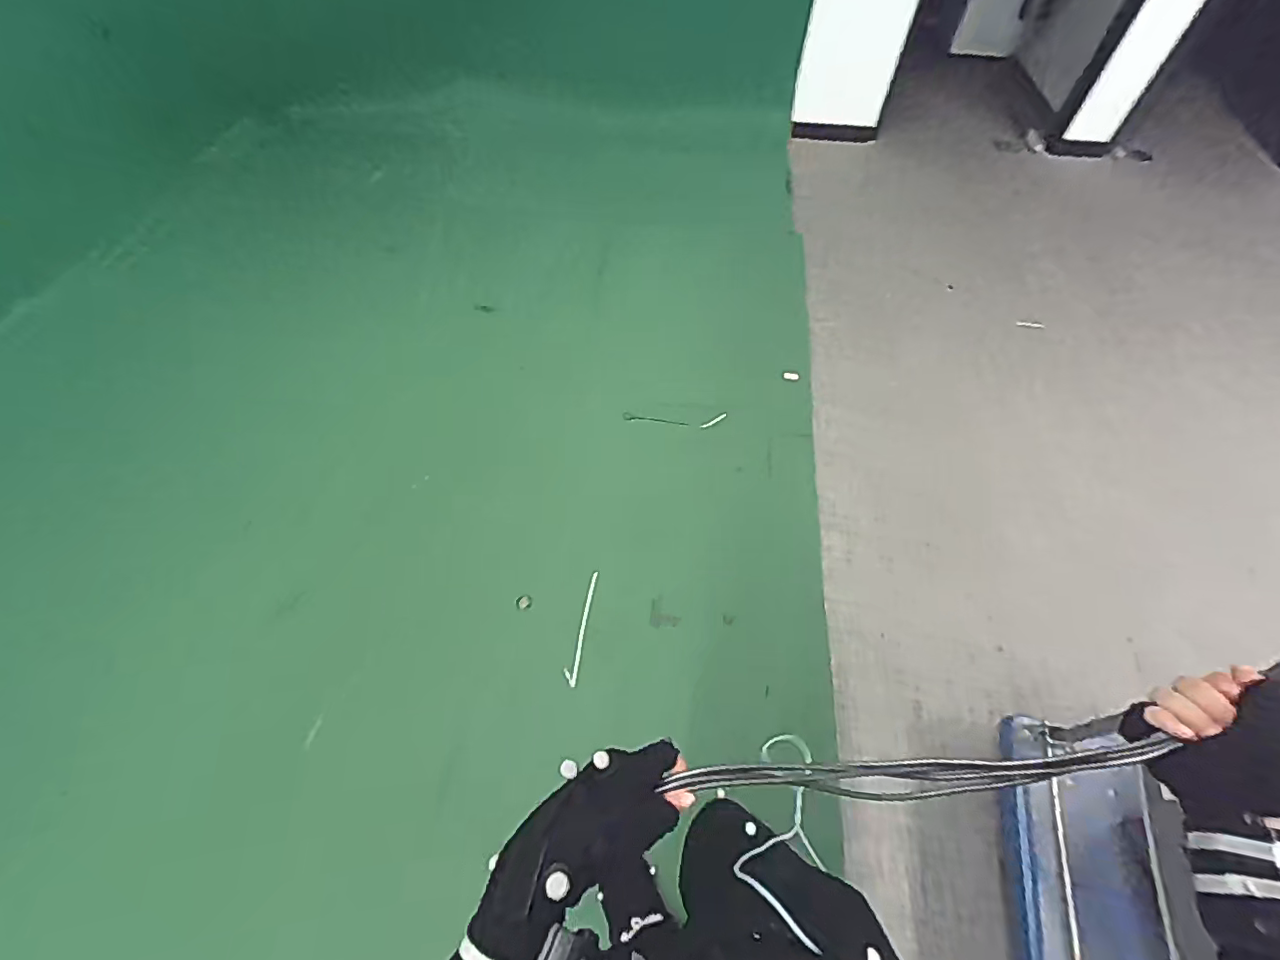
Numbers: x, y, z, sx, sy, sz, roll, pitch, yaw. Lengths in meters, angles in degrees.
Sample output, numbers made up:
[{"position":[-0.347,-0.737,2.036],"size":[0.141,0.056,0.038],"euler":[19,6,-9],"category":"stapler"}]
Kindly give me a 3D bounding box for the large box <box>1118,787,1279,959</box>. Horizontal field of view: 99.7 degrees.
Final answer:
[{"position":[1.129,0.734,0.868],"size":[0.320,0.320,0.408],"euler":[-5,56,-4],"category":"large box"}]
